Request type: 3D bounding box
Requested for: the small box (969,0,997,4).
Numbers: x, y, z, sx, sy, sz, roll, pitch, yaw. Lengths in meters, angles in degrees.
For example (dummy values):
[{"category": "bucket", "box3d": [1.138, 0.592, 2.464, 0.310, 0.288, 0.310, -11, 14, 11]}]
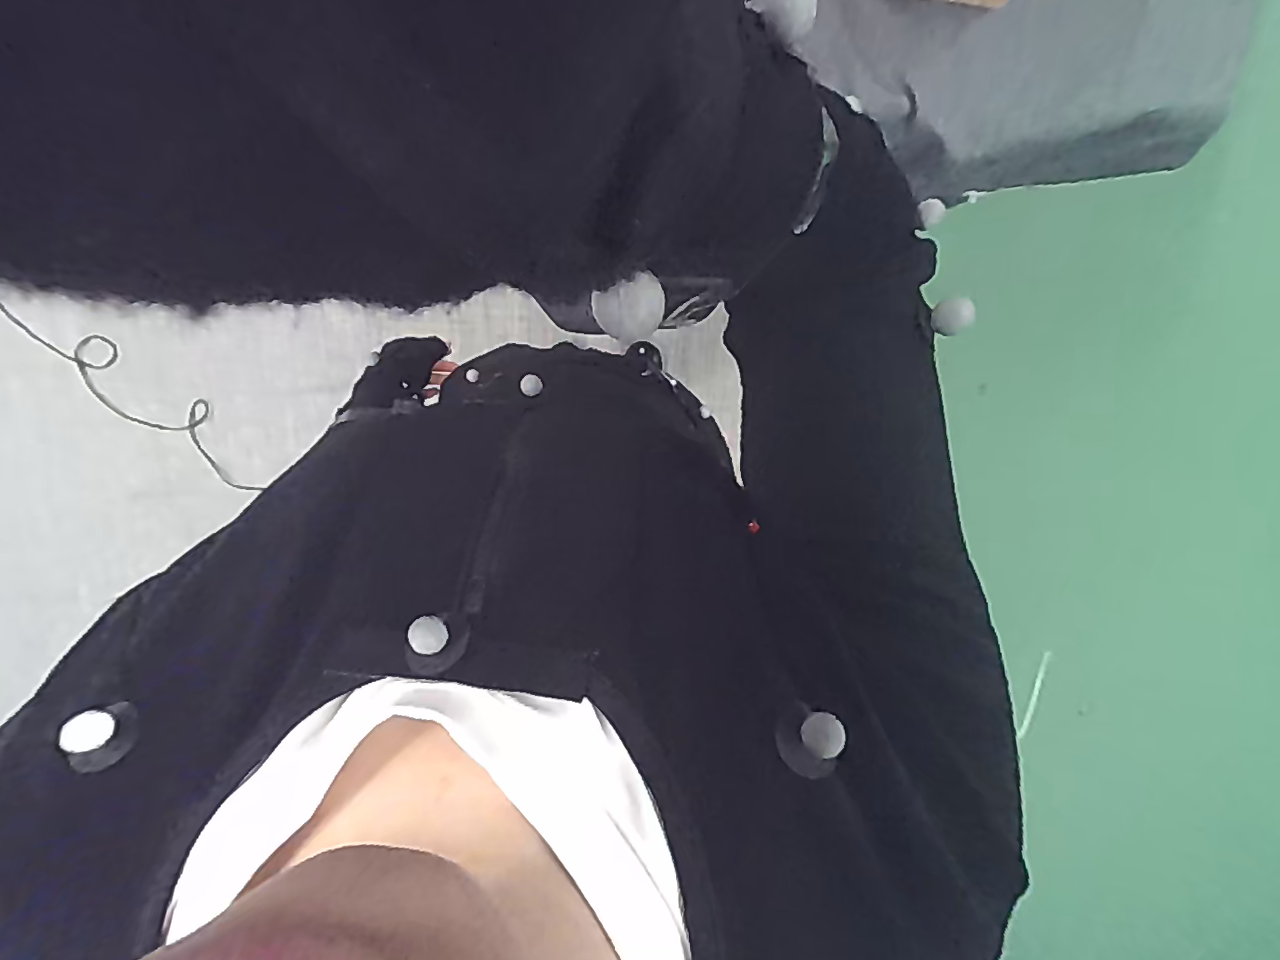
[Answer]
[{"category": "small box", "box3d": [0.332, -0.596, 0.502, 0.168, 0.176, 0.179, 6, 105, -3]}]
